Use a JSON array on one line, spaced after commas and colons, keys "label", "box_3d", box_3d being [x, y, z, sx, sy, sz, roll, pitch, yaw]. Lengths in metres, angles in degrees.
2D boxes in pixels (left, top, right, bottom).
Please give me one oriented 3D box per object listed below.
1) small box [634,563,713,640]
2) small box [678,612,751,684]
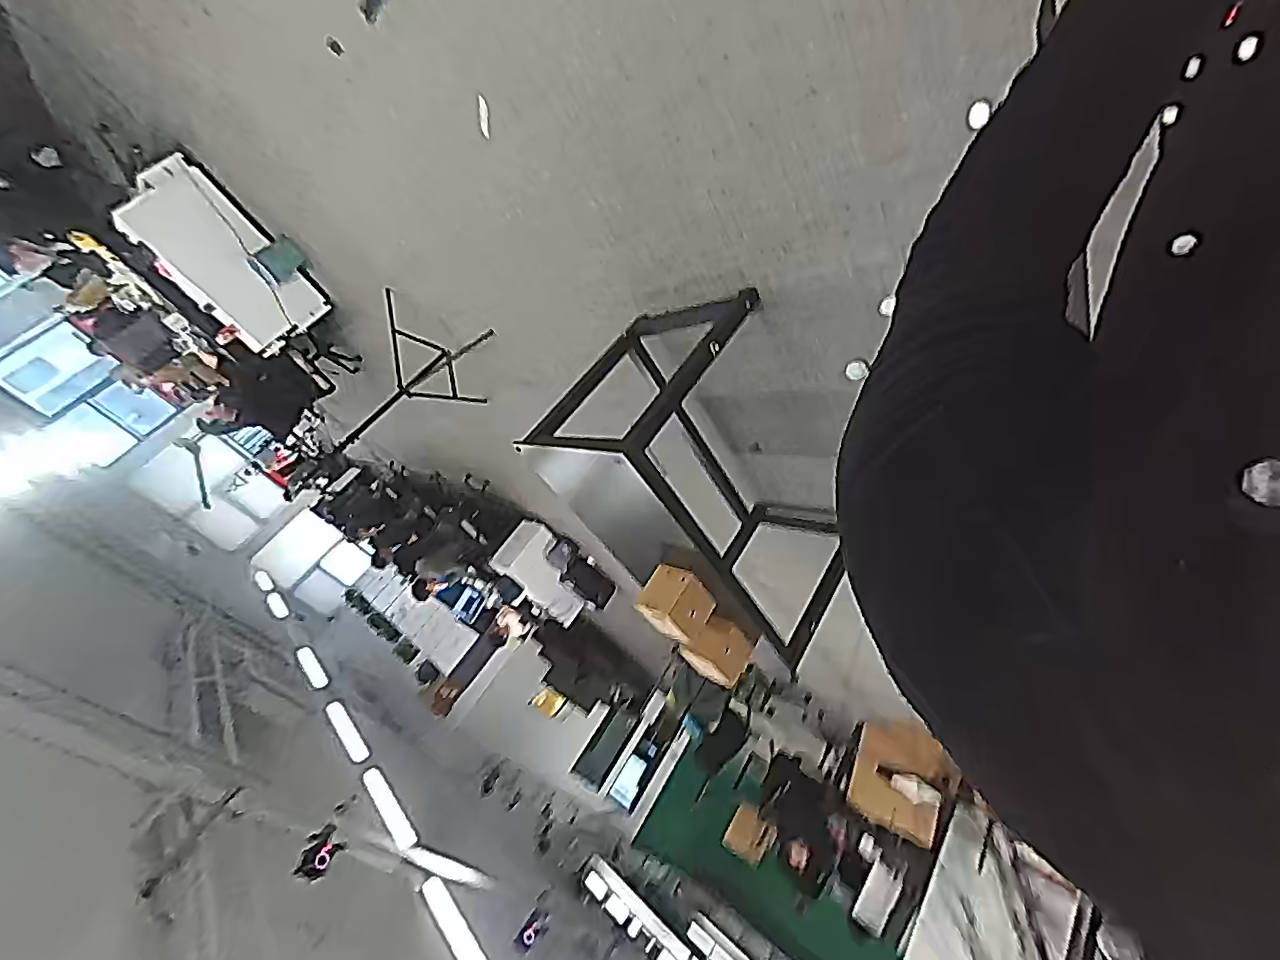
[{"label": "small box", "box_3d": [0.117, 0.408, 1.840, 0.168, 0.176, 0.179, 9, 145, 49]}, {"label": "small box", "box_3d": [0.277, 0.608, 1.989, 0.168, 0.176, 0.179, 7, 143, 52]}]
